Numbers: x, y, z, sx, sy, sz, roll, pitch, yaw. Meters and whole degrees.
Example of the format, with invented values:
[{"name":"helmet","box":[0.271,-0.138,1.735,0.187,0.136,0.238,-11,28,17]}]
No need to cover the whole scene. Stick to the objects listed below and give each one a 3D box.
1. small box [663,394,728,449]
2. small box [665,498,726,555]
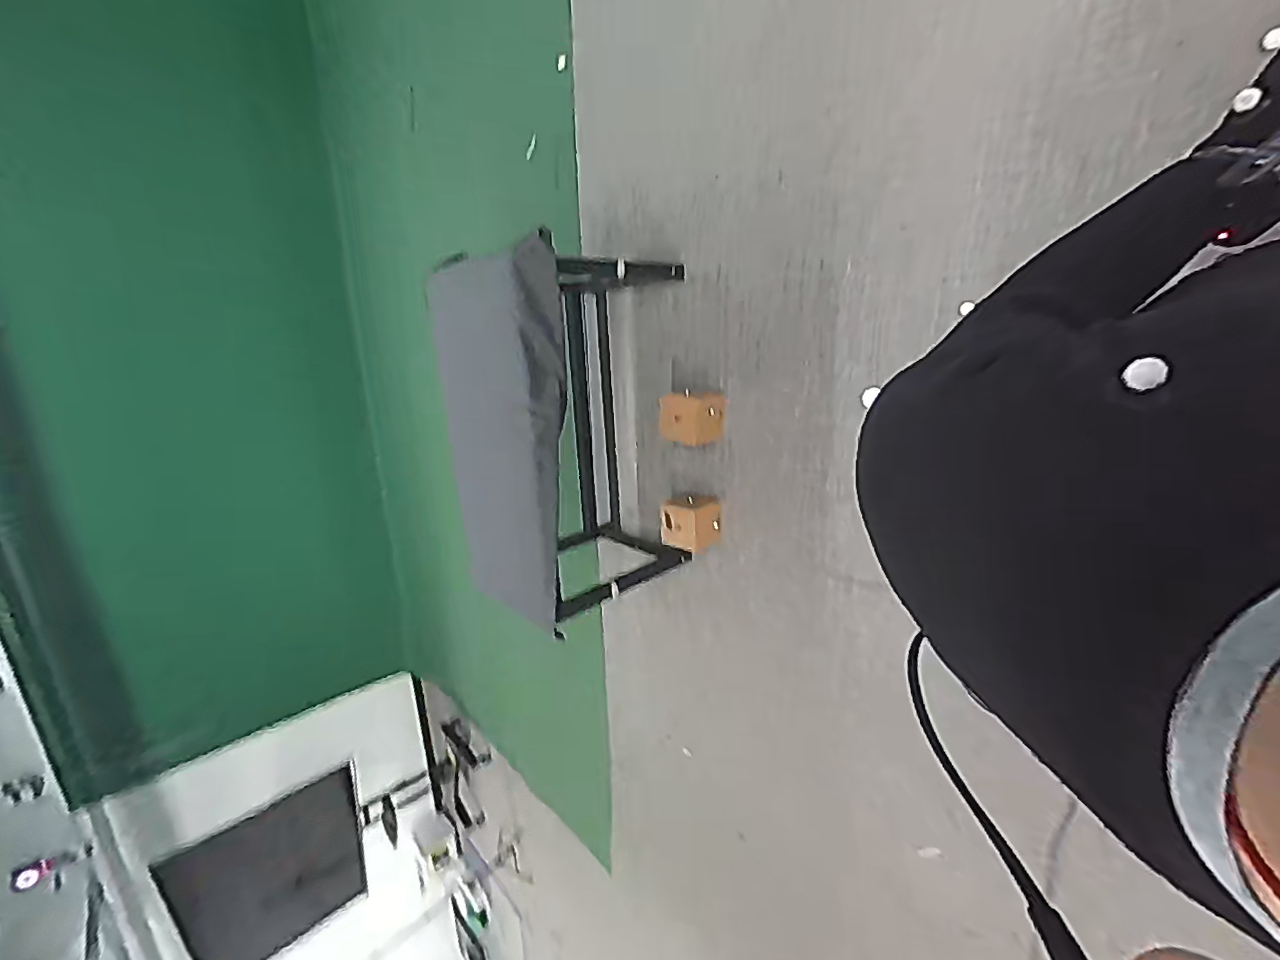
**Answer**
[{"name":"small box","box":[0.209,-0.224,2.008,0.179,0.176,0.168,21,116,44]},{"name":"small box","box":[0.219,0.174,2.122,0.179,0.176,0.168,12,111,45]}]
